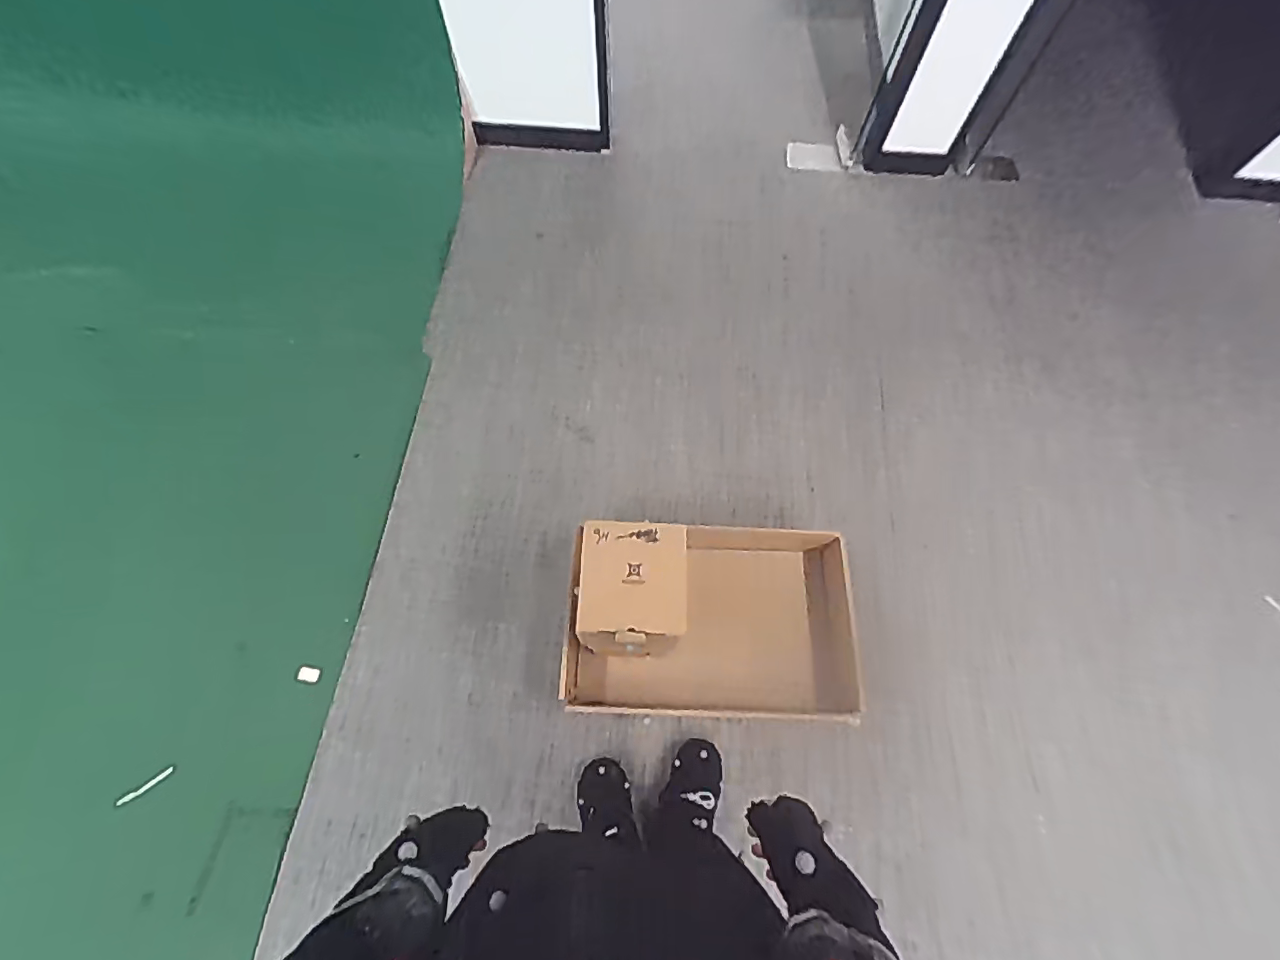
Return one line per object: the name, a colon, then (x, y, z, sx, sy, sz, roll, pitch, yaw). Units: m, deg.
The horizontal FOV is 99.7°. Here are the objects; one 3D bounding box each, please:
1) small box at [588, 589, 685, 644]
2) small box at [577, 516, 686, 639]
small box: (-0.006, 0.229, 1.066, 0.179, 0.176, 0.168, 2, 68, 0)
small box: (-0.011, 0.171, 0.914, 0.168, 0.176, 0.179, 2, 68, 0)
